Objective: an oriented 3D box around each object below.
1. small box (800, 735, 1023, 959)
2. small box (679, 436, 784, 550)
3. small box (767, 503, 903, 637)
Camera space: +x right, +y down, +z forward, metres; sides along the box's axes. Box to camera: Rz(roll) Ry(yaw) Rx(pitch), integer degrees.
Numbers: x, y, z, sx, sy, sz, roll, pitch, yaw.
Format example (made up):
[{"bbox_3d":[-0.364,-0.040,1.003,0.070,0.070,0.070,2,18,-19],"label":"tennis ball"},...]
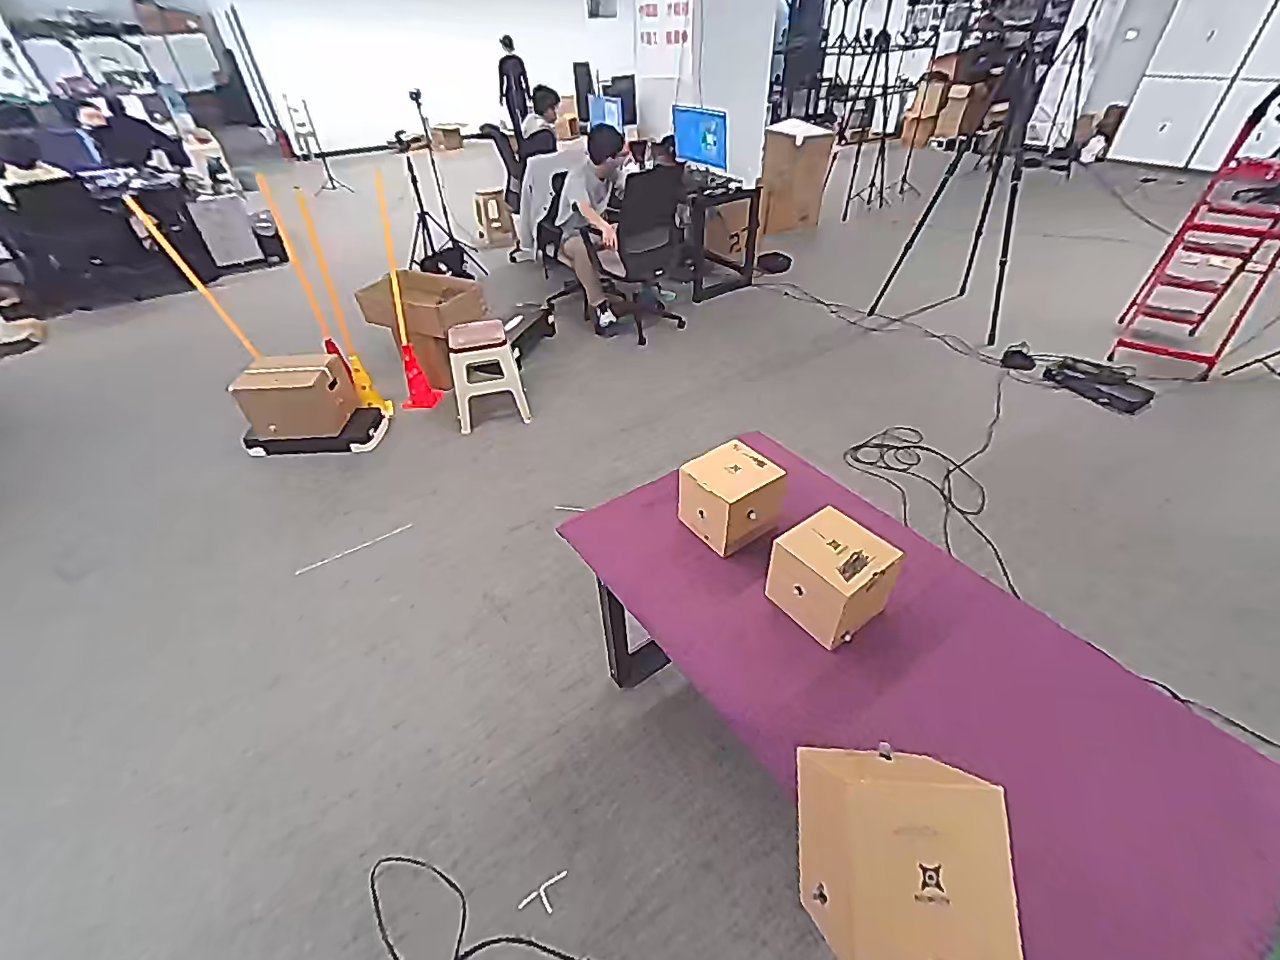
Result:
[{"bbox_3d":[0.286,0.403,0.607,0.168,0.176,0.179,4,75,0],"label":"small box"},{"bbox_3d":[0.207,0.032,1.250,0.179,0.176,0.168,-27,46,-25],"label":"small box"},{"bbox_3d":[0.373,0.182,1.062,0.168,0.176,0.179,-26,44,-25],"label":"small box"}]
